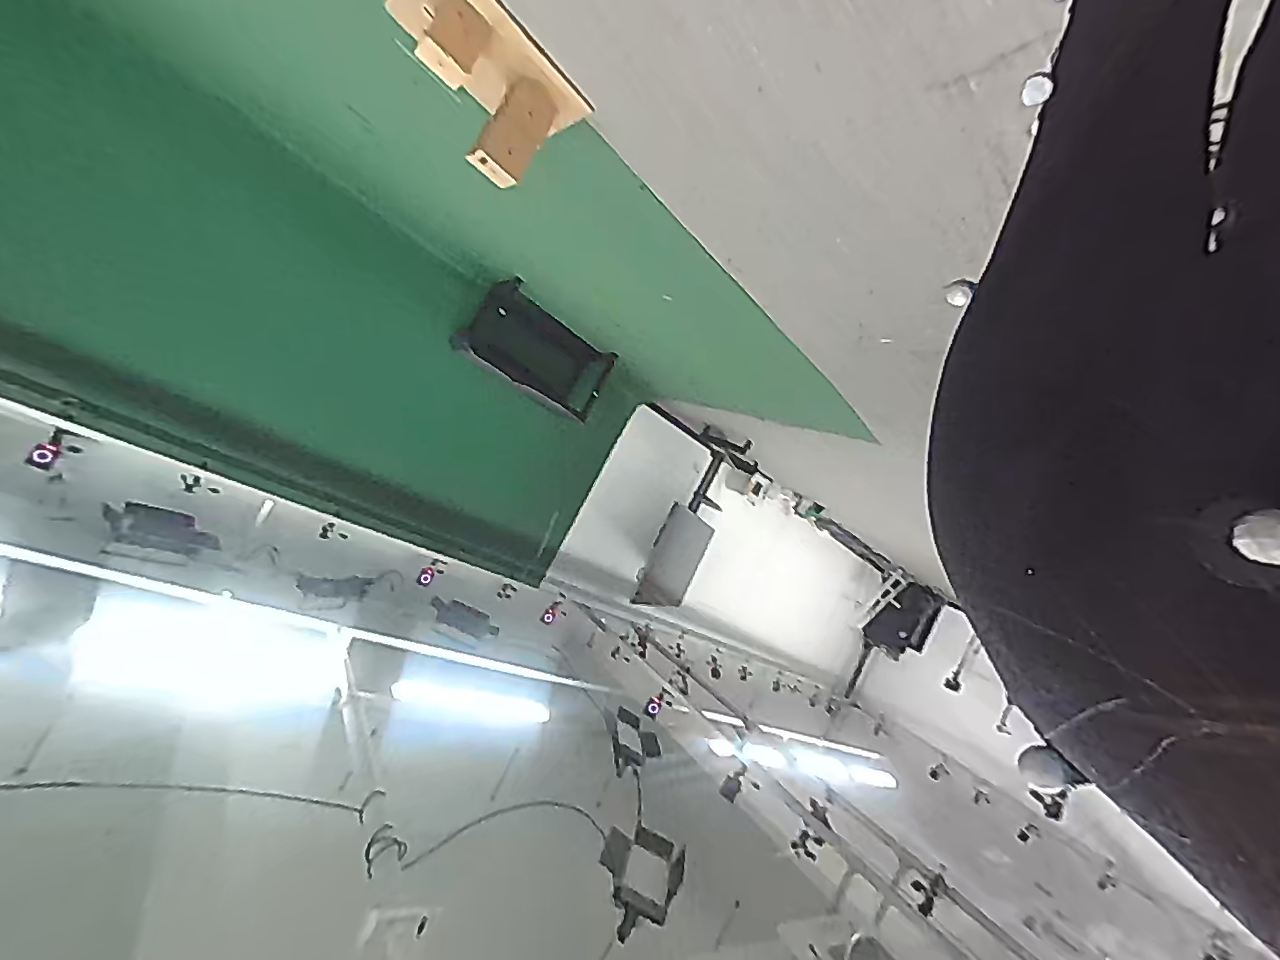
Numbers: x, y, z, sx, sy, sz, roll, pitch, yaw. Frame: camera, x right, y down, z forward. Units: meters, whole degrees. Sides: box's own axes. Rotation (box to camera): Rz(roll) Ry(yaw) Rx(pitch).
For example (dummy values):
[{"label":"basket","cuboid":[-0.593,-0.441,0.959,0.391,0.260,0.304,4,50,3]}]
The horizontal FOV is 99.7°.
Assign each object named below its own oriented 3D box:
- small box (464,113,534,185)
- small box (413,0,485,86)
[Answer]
[{"label":"small box","cuboid":[-0.552,-1.306,2.126,0.179,0.176,0.168,28,178,-42]},{"label":"small box","cuboid":[-0.682,-1.575,1.936,0.168,0.176,0.179,30,176,-38]}]
